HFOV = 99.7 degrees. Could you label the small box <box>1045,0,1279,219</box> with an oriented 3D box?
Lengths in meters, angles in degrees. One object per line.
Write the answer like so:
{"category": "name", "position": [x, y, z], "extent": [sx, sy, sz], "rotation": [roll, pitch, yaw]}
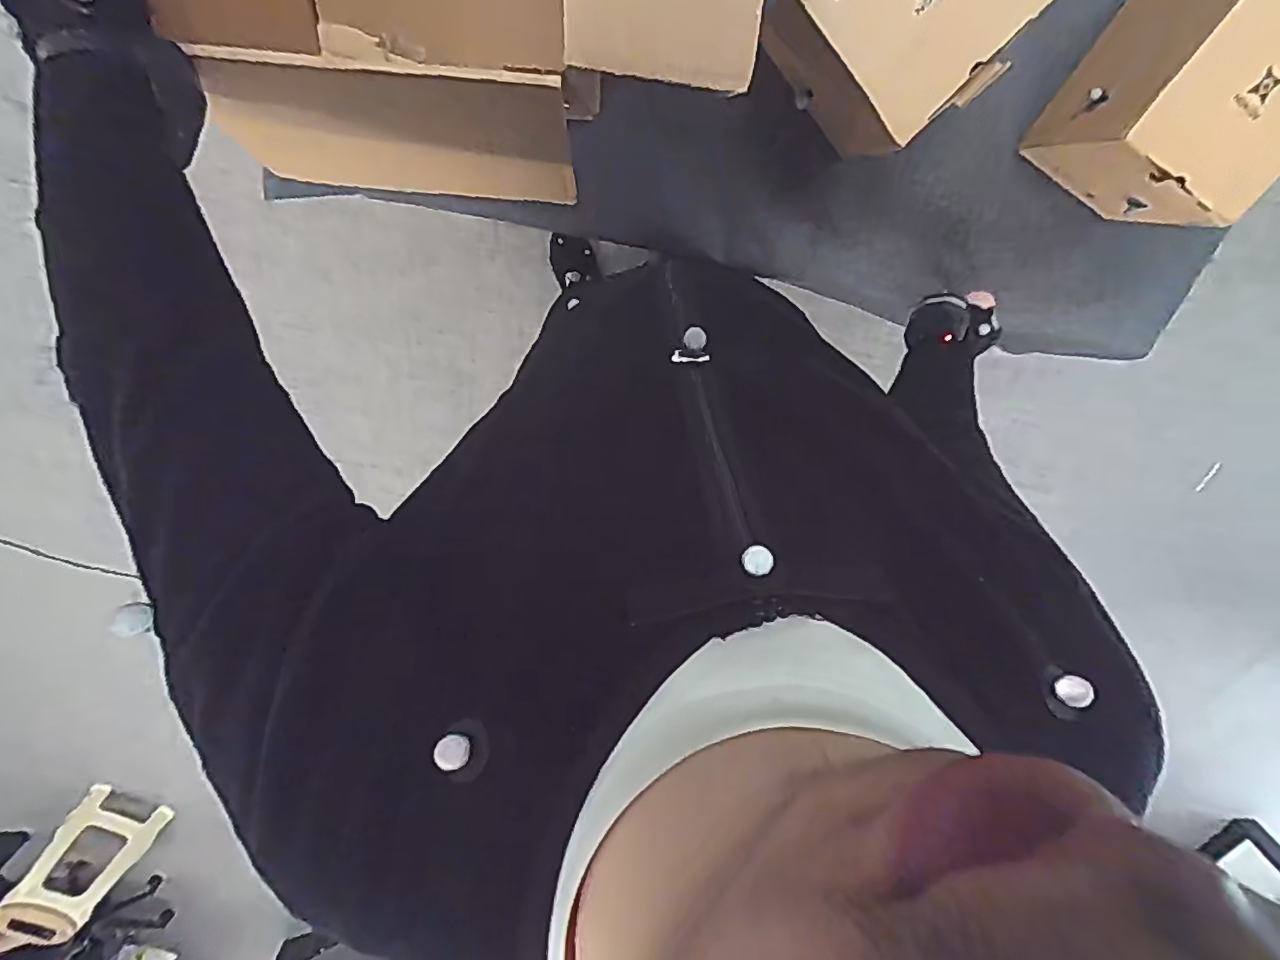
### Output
{"category": "small box", "position": [0.575, -0.400, 0.562], "extent": [0.168, 0.176, 0.179], "rotation": [25, 115, -13]}

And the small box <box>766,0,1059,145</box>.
{"category": "small box", "position": [0.251, -0.465, 0.531], "extent": [0.179, 0.176, 0.168], "rotation": [41, 111, -20]}
